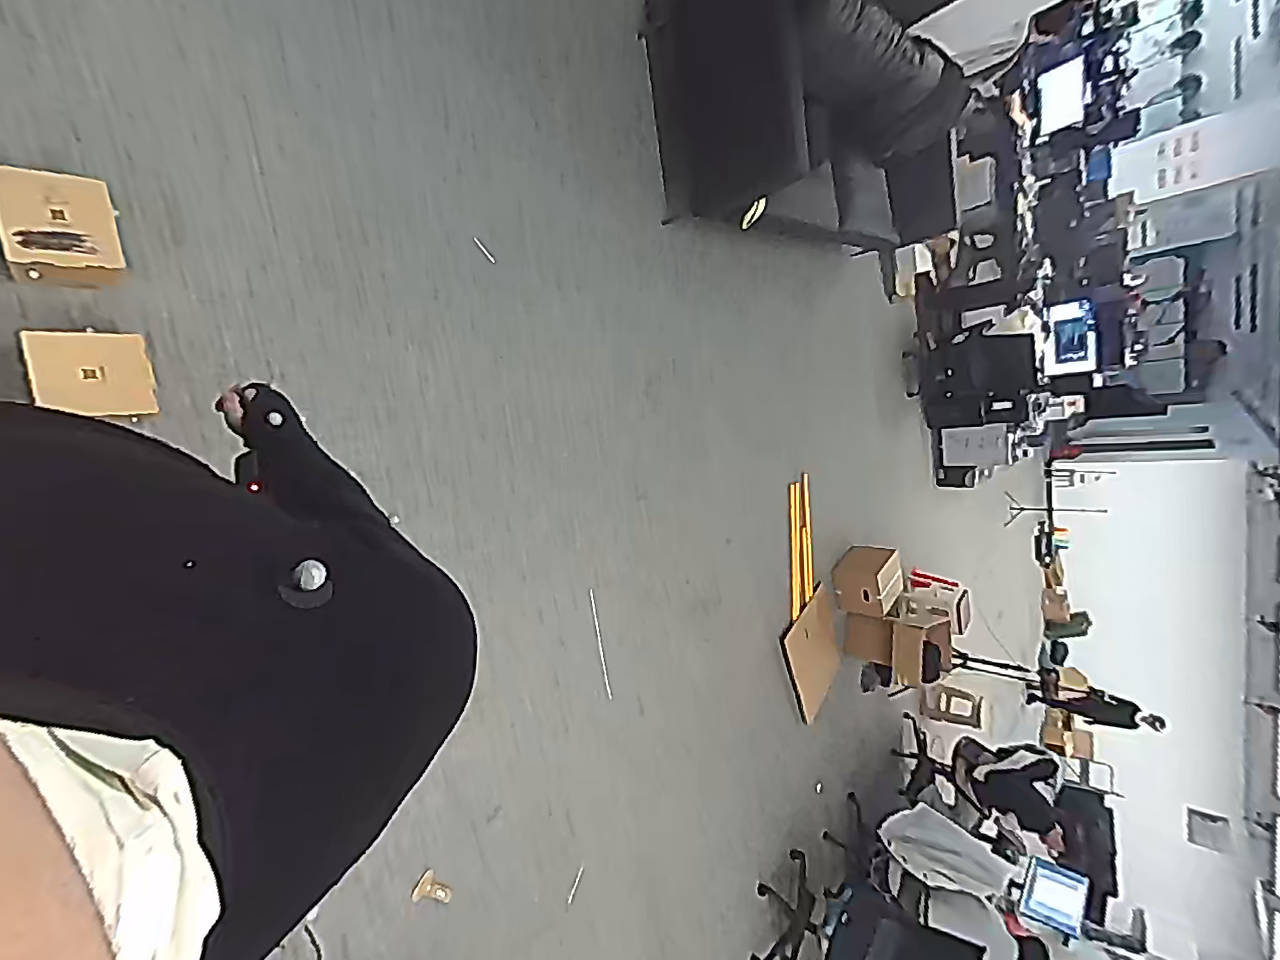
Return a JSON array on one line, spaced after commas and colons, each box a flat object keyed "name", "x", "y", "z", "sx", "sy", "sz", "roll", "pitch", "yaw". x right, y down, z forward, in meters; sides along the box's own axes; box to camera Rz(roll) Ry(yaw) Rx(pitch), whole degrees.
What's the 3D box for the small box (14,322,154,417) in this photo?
[{"name": "small box", "x": -1.138, "y": -0.222, "z": 1.115, "sx": 0.179, "sy": 0.176, "sz": 0.168, "roll": -12, "pitch": 99, "yaw": -46}]
